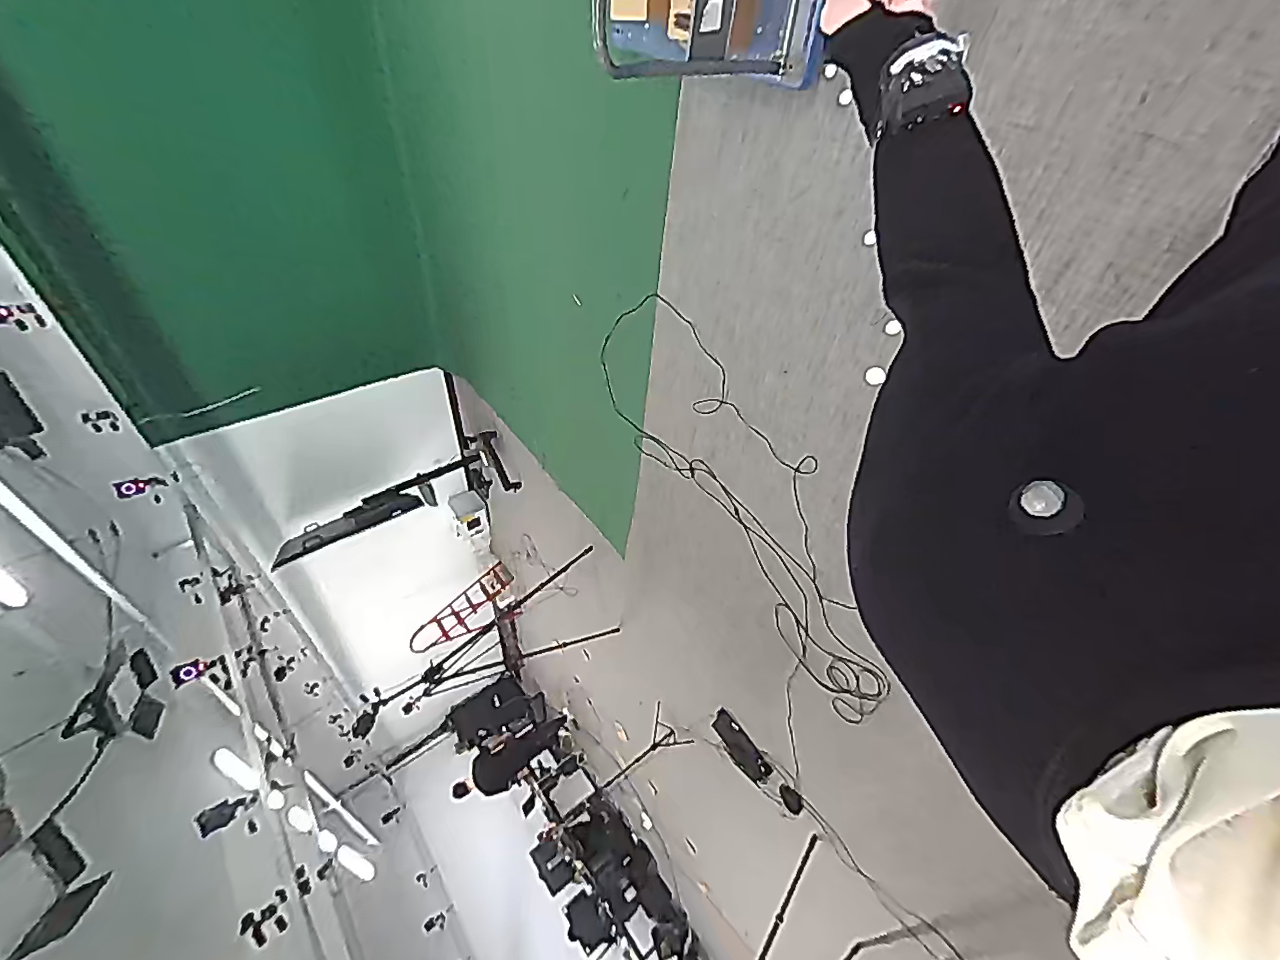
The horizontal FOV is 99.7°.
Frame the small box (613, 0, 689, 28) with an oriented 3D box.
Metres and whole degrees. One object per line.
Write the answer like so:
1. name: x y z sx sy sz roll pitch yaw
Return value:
1. small box: 0.038 -1.452 1.599 0.179 0.176 0.168 40 142 35
